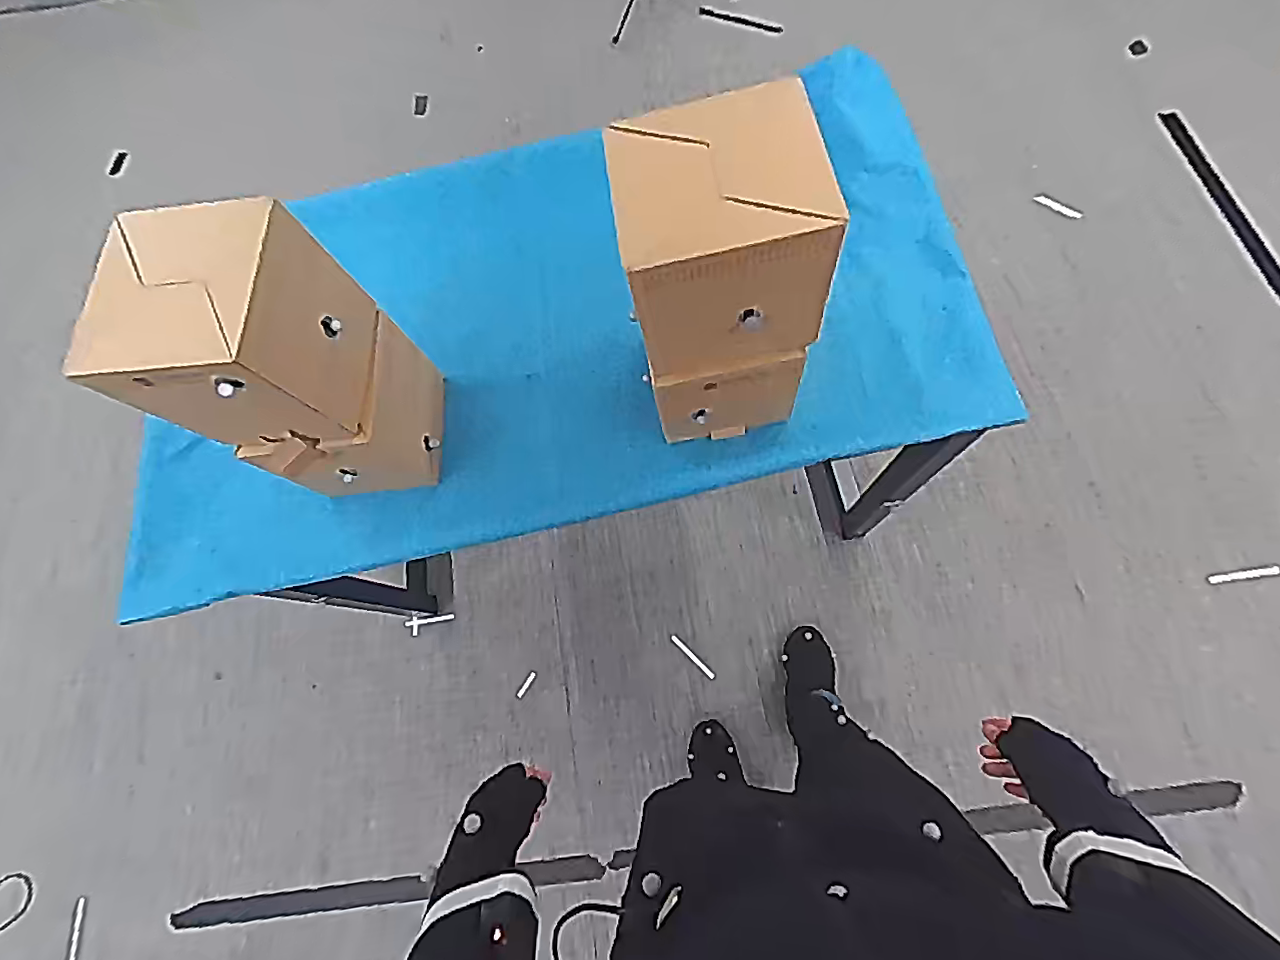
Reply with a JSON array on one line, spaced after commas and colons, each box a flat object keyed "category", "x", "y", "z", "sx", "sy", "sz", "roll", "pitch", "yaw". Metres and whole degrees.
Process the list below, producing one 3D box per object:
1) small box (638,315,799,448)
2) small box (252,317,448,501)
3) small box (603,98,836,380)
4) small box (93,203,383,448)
[{"category": "small box", "x": 0.093, "y": -0.165, "z": 0.677, "sx": 0.168, "sy": 0.176, "sz": 0.179, "roll": -12, "pitch": 70, "yaw": 4}, {"category": "small box", "x": -0.370, "y": -0.086, "z": 0.711, "sx": 0.168, "sy": 0.176, "sz": 0.179, "roll": -7, "pitch": 71, "yaw": 5}, {"category": "small box", "x": 0.076, "y": -0.224, "z": 0.525, "sx": 0.179, "sy": 0.176, "sz": 0.168, "roll": -11, "pitch": 69, "yaw": 7}, {"category": "small box", "x": -0.399, "y": -0.147, "z": 0.561, "sx": 0.168, "sy": 0.176, "sz": 0.179, "roll": -3, "pitch": 73, "yaw": 6}]
